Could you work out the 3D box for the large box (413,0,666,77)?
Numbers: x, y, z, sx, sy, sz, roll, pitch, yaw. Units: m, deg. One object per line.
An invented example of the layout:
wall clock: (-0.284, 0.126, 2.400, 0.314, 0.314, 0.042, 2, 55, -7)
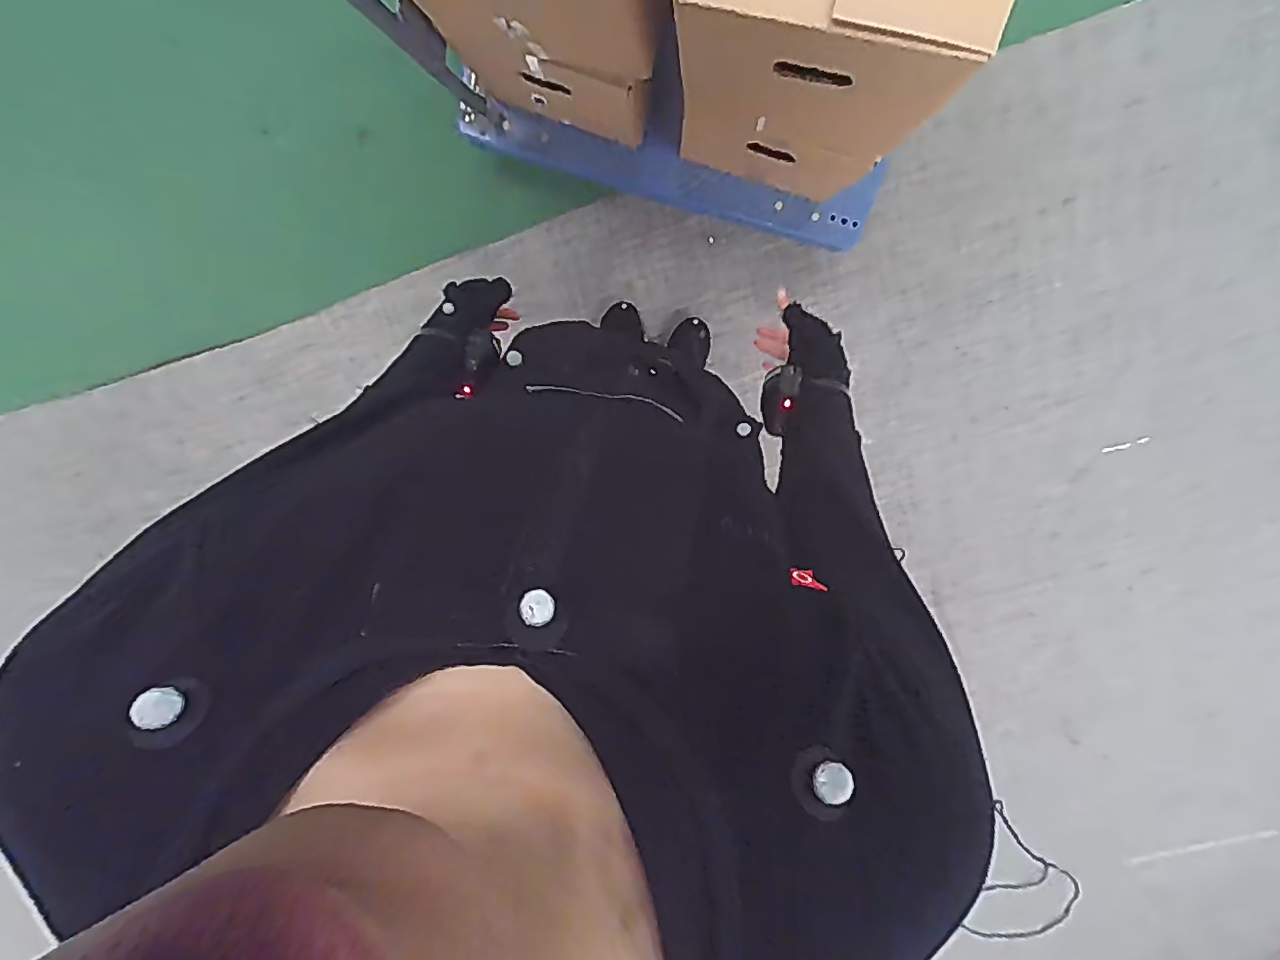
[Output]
large box: (-0.110, -0.749, 0.583, 0.320, 0.320, 0.408, 14, 107, 3)
